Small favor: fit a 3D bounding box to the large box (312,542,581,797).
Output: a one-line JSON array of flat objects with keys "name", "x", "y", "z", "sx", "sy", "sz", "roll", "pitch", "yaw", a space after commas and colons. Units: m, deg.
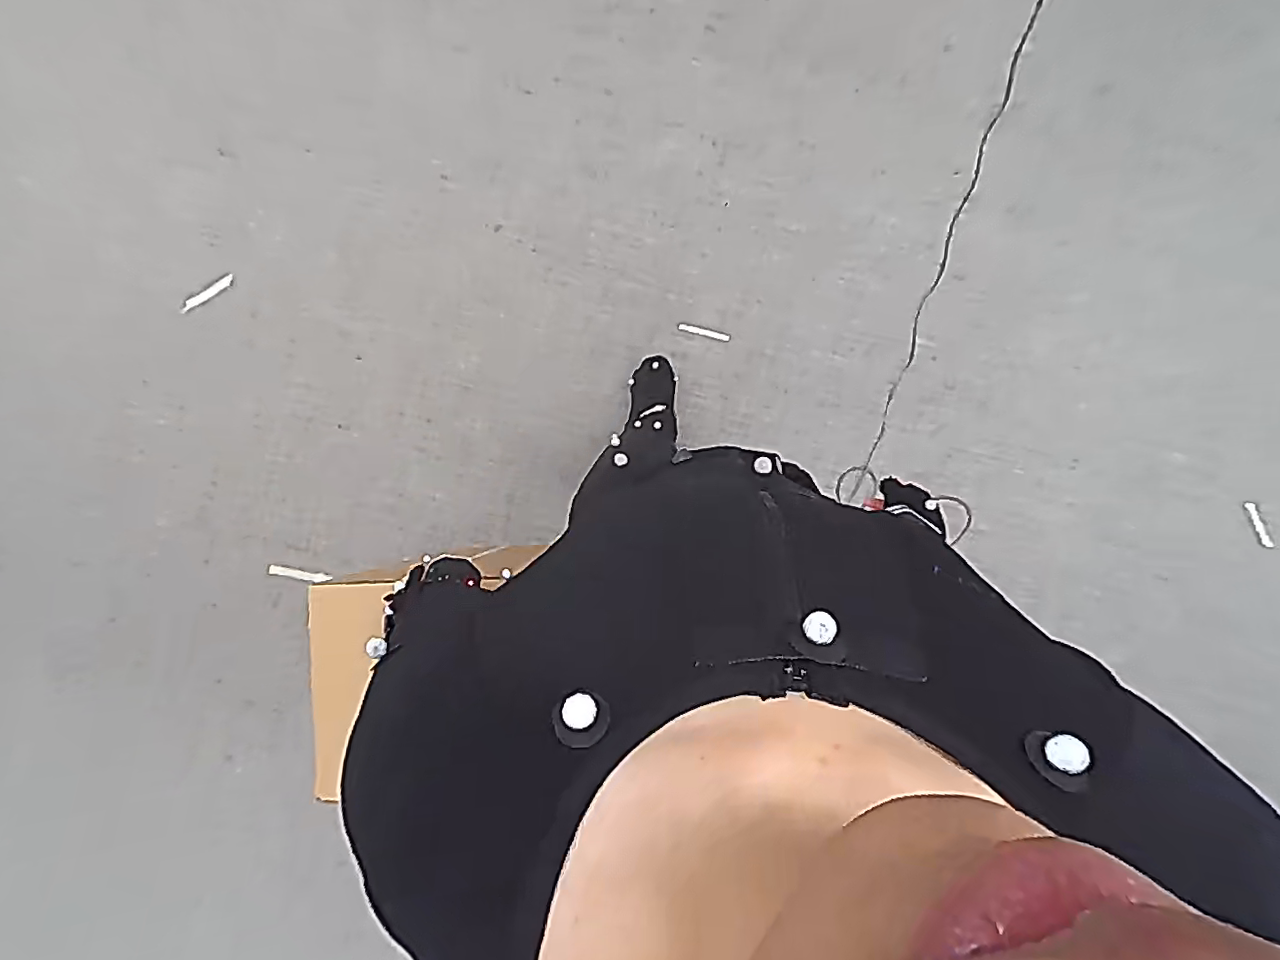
[{"name": "large box", "x": -0.296, "y": 0.290, "z": 0.953, "sx": 0.320, "sy": 0.408, "sz": 0.320, "roll": -4, "pitch": 90, "yaw": 6}]
